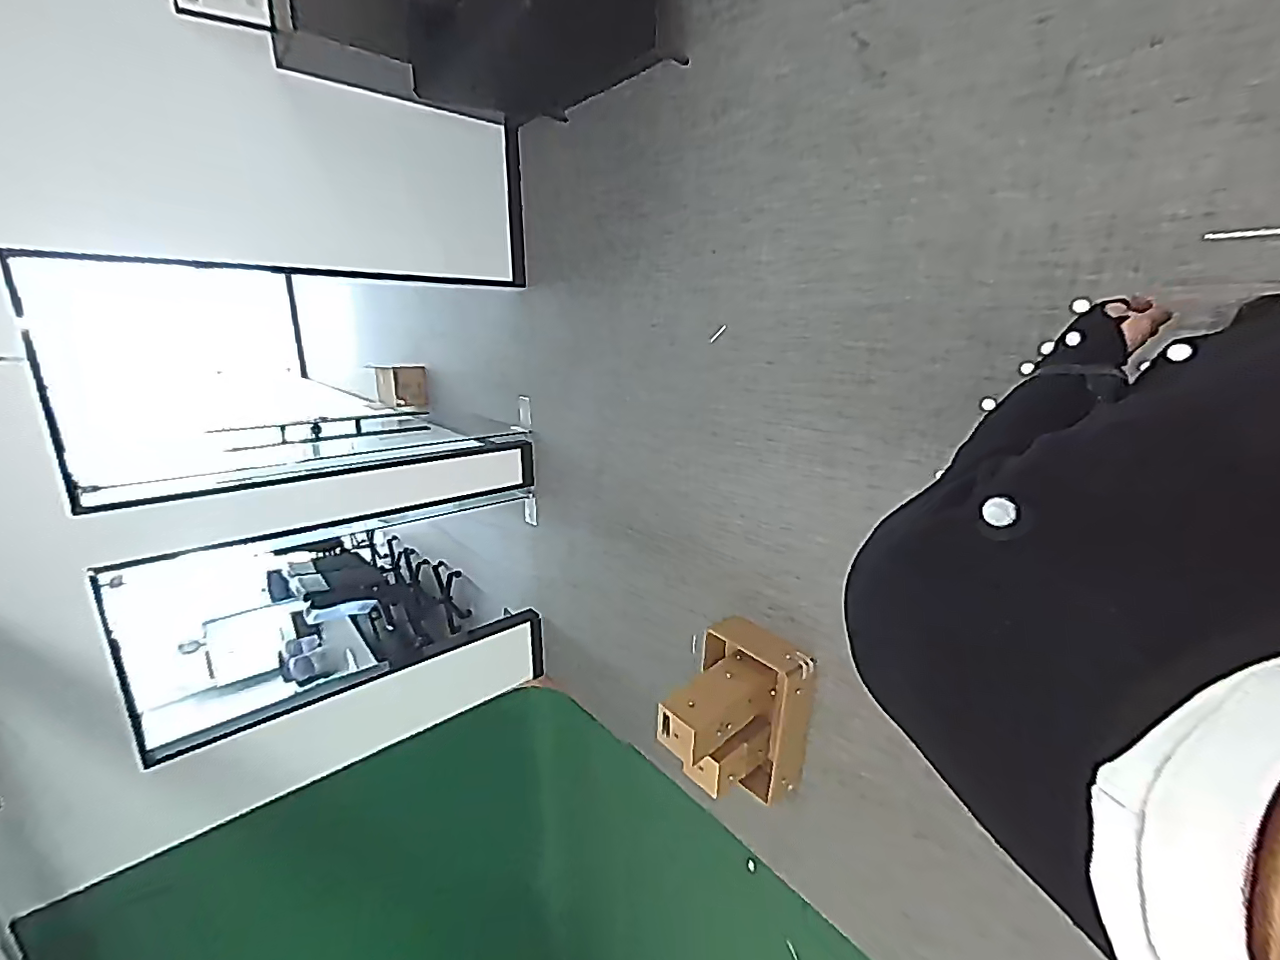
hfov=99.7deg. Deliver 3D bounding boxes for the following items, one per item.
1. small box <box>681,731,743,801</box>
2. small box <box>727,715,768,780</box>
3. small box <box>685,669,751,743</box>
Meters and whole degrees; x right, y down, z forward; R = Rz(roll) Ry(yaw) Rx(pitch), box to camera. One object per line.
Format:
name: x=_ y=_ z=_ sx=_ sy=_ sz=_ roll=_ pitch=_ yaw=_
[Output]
small box: x=0.280 y=1.088 z=2.098 sx=0.179 sy=0.176 sz=0.168 roll=18 pitch=113 yaw=46
small box: x=0.400 y=1.066 z=2.203 sx=0.179 sy=0.176 sz=0.168 roll=20 pitch=113 yaw=45
small box: x=0.291 y=0.835 z=2.022 sx=0.179 sy=0.176 sz=0.168 roll=19 pitch=116 yaw=46
